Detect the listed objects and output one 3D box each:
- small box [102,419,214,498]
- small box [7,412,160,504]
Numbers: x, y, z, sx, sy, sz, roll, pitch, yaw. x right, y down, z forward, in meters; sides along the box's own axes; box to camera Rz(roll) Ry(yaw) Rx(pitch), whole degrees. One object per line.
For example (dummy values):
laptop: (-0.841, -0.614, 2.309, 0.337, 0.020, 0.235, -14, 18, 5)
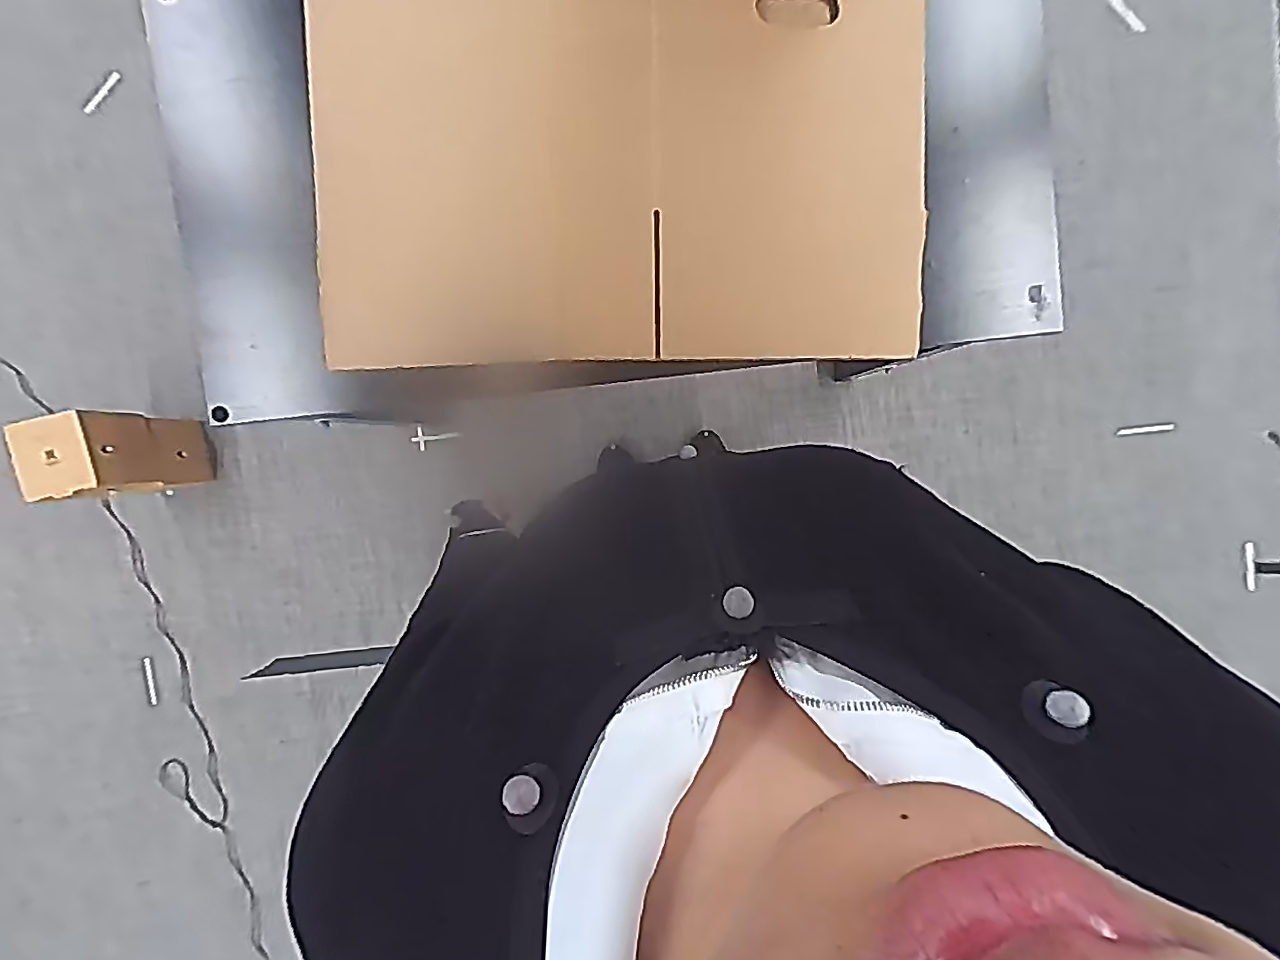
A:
small box: (-1.273, -0.057, 1.418, 0.168, 0.176, 0.179, -10, 94, 1)
small box: (-1.276, -0.053, 1.255, 0.168, 0.176, 0.179, -14, 92, 0)
